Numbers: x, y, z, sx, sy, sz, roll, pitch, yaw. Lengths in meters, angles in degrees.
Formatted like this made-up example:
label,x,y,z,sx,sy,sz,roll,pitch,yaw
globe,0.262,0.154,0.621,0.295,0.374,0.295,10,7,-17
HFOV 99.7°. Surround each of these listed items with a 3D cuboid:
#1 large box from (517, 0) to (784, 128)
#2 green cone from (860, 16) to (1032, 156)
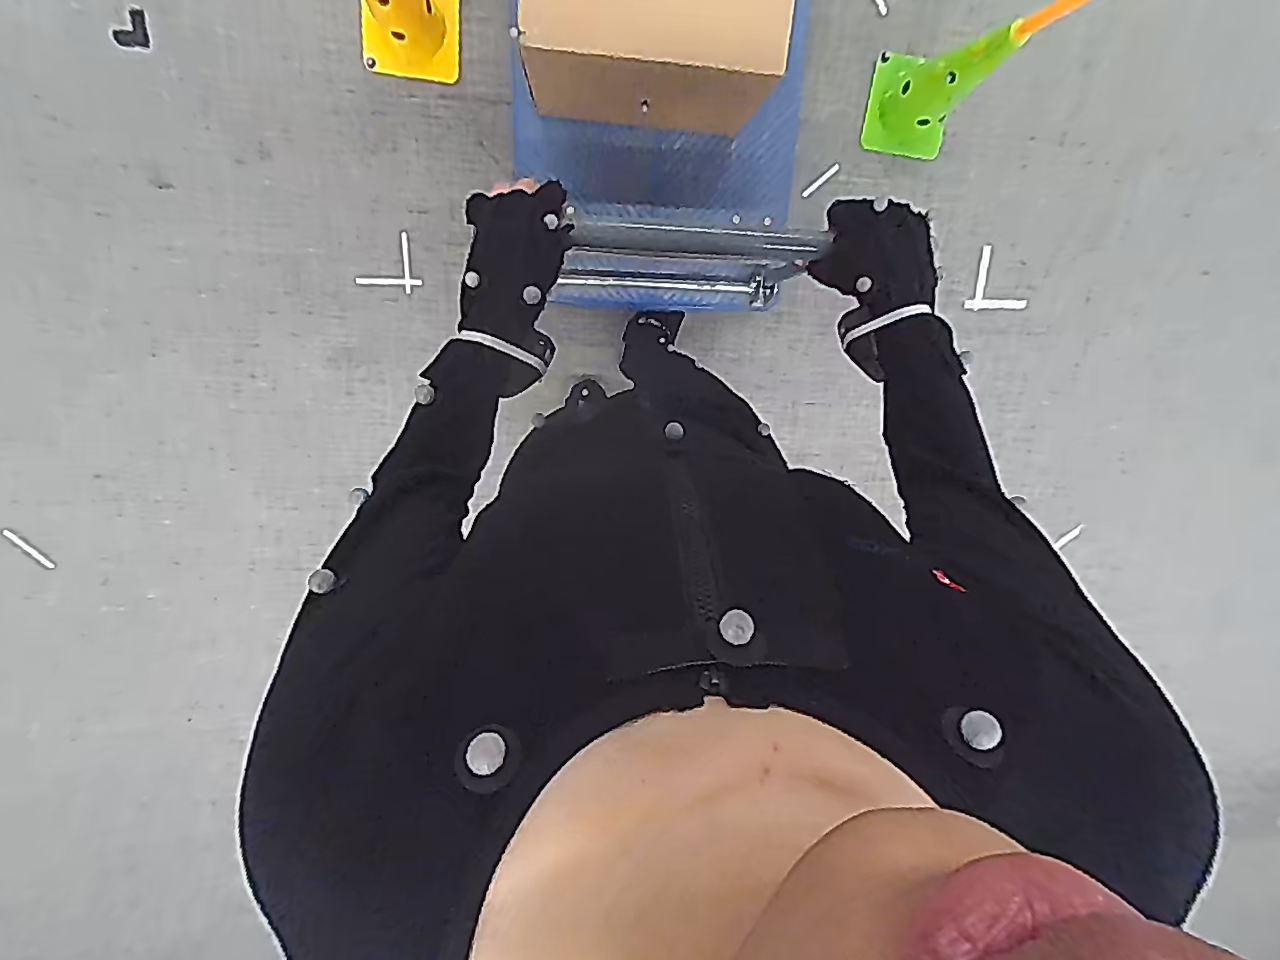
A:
label,x,y,z,sx,sy,sz,roll,pitch,yaw
large box,0.015,-0.827,0.917,0.408,0.320,0.320,2,107,-5
green cone,0.649,-0.842,1.120,0.202,0.368,0.200,4,107,-8
